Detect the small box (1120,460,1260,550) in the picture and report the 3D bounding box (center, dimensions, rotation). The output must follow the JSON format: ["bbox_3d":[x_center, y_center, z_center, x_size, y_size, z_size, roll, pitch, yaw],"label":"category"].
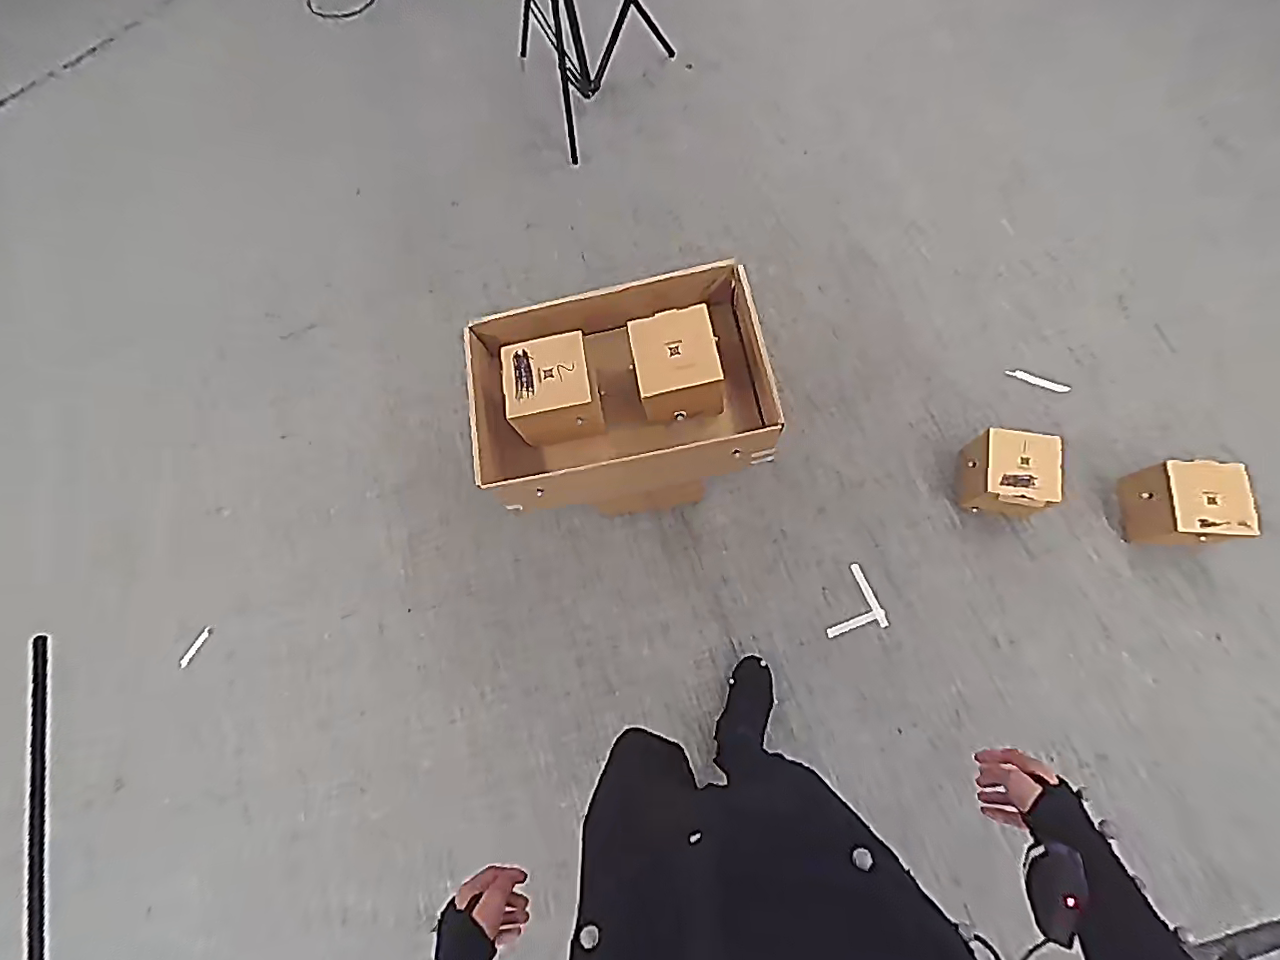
[{"bbox_3d":[1.326,0.065,1.320,0.168,0.176,0.179,3,73,9],"label":"small box"}]

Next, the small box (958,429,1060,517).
[{"bbox_3d":[0.945,-0.012,1.396,0.168,0.176,0.179,10,75,11],"label":"small box"}]

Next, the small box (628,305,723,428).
[{"bbox_3d":[0.077,-0.233,1.143,0.168,0.176,0.179,-12,71,6],"label":"small box"}]
